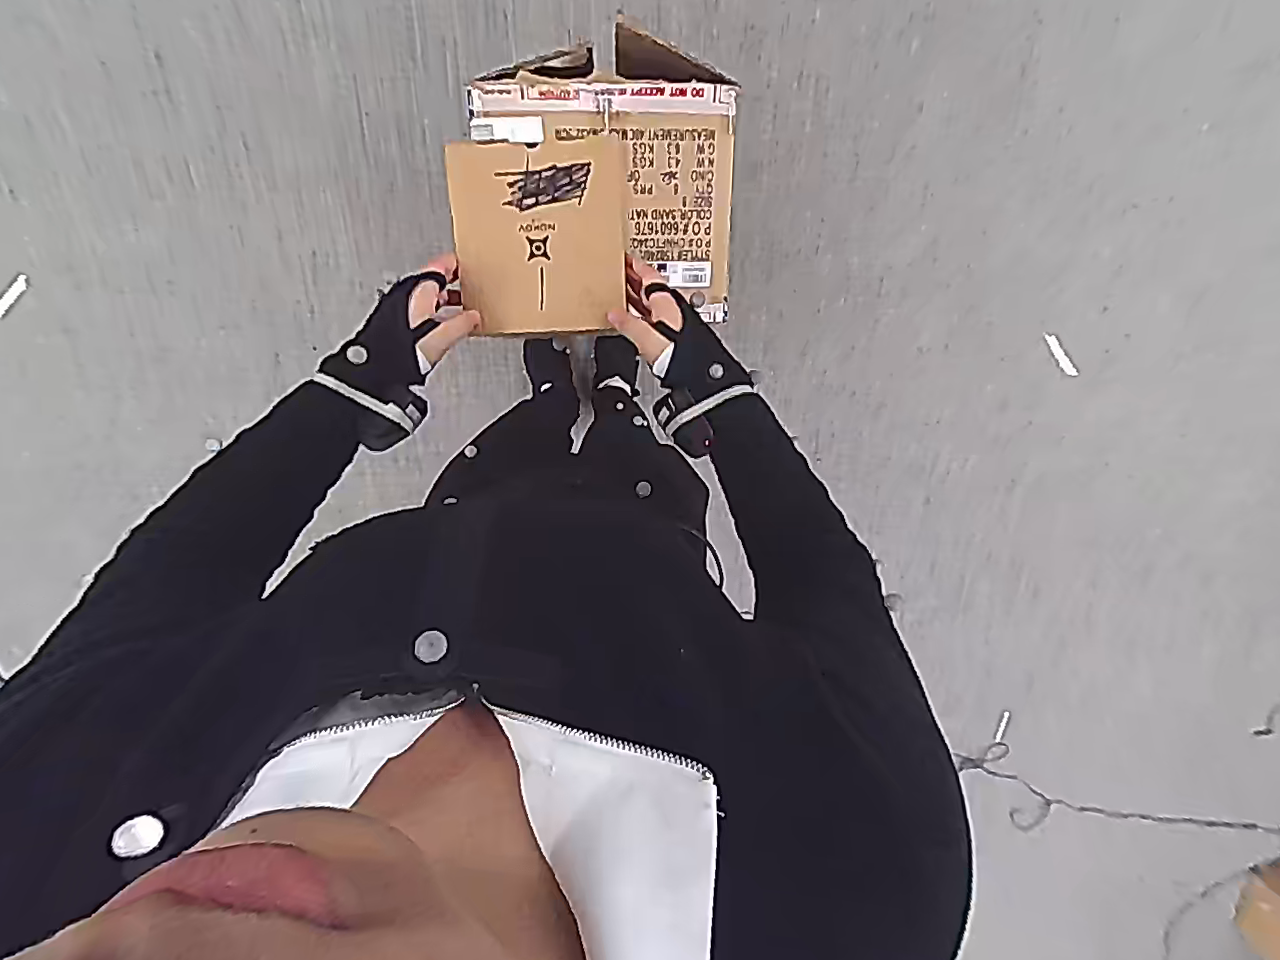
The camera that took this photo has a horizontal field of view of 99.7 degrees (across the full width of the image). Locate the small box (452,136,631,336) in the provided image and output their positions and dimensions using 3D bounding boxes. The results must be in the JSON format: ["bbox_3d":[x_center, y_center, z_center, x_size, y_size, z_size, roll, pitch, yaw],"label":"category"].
[{"bbox_3d":[-0.095,-0.255,0.605,0.168,0.176,0.179,-2,104,1],"label":"small box"}]
